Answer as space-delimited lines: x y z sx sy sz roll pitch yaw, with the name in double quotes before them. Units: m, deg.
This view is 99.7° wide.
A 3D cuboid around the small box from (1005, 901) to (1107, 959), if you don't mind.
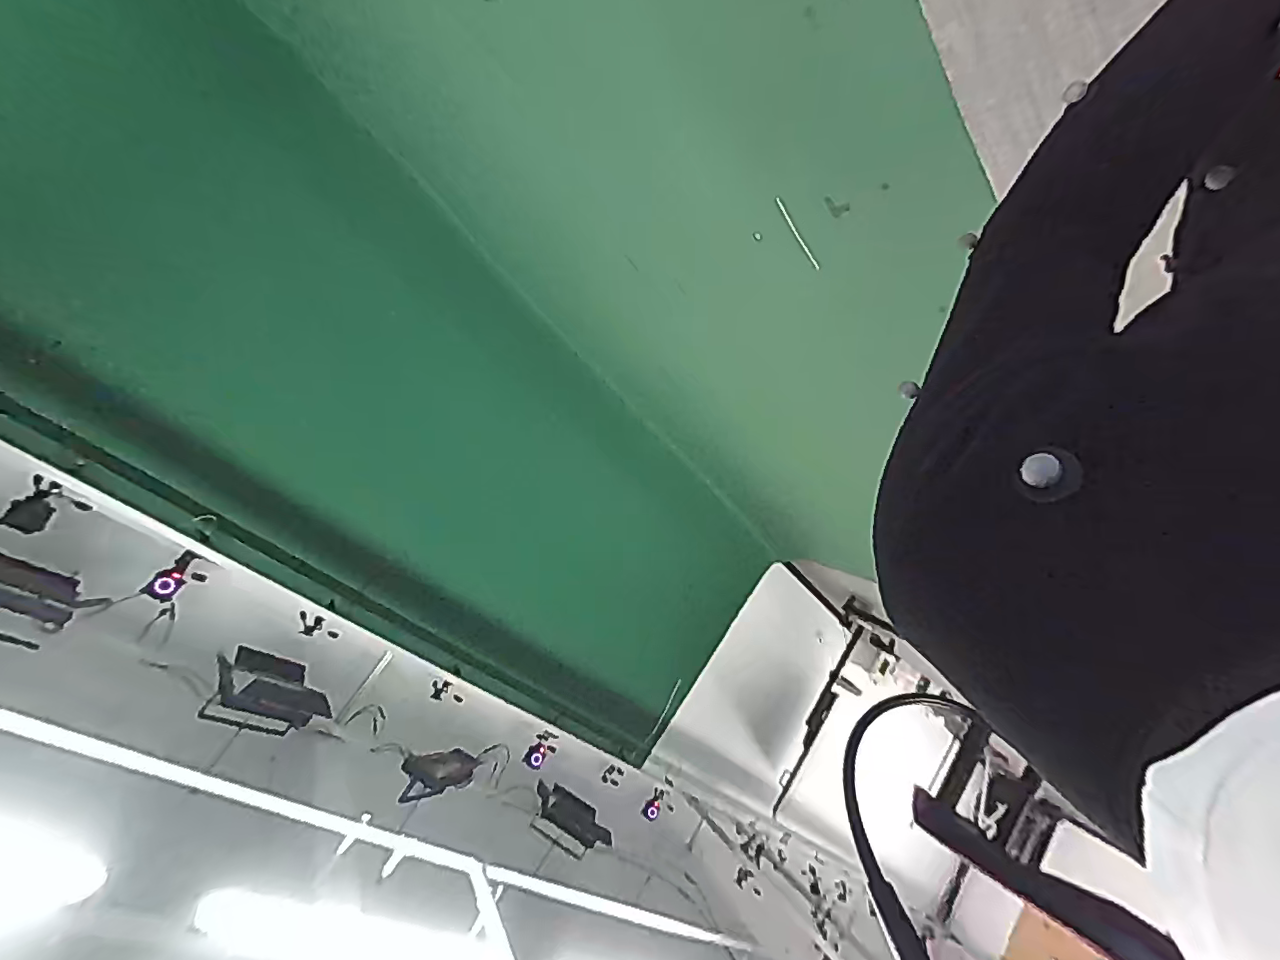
"small box" 1.151 1.309 1.493 0.179 0.176 0.168 42 166 -32
